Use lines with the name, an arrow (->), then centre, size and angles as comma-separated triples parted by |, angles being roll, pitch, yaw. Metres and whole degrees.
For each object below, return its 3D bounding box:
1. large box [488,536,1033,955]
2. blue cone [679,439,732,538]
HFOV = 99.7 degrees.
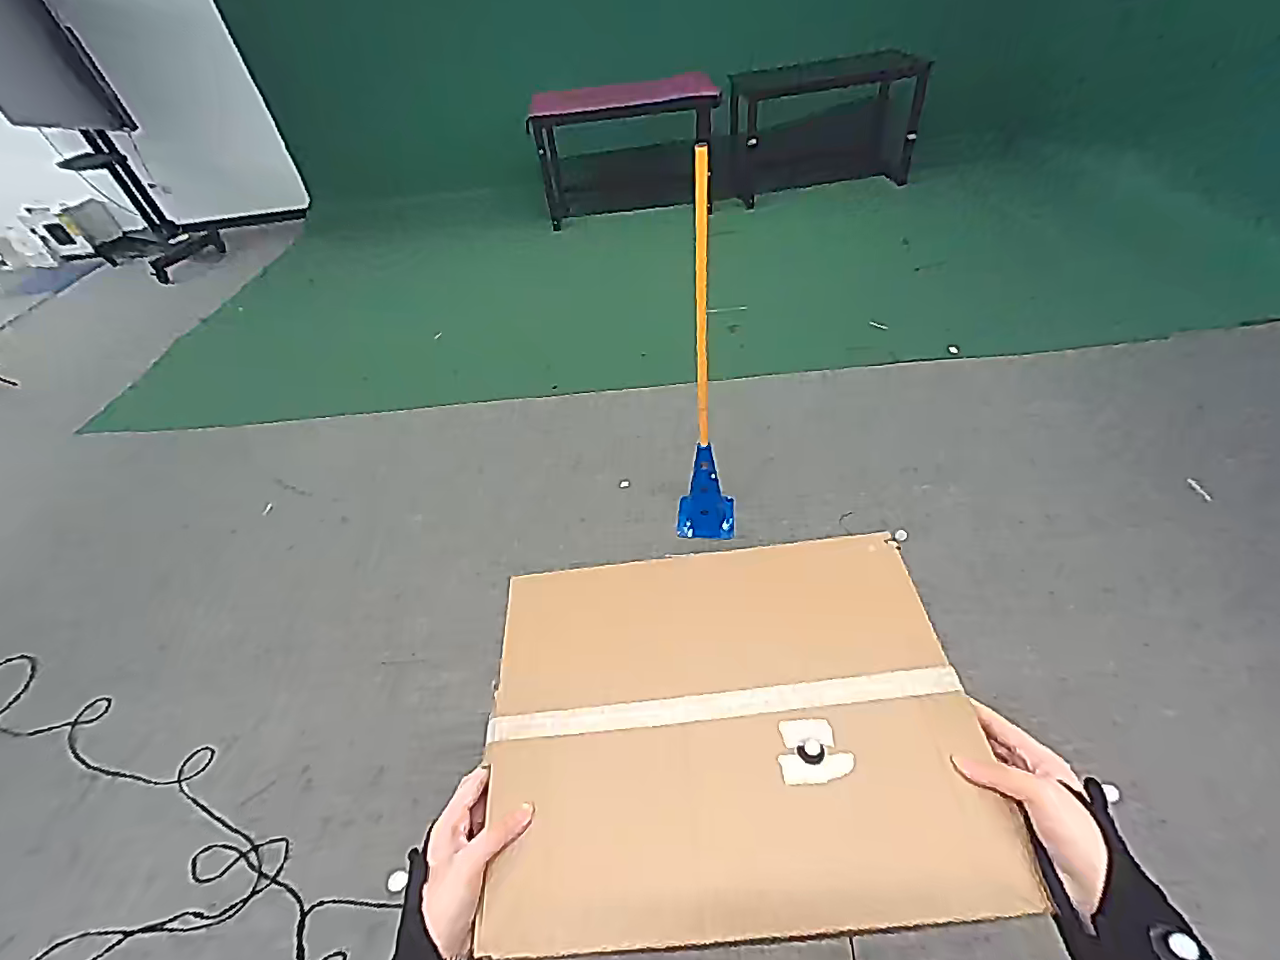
large box -> 0.086, 0.296, 0.594 | 0.408, 0.320, 0.320 | -7, 50, 2
blue cone -> 0.223, 0.019, 1.863 | 0.193, 0.380, 0.192 | 2, 45, 10
